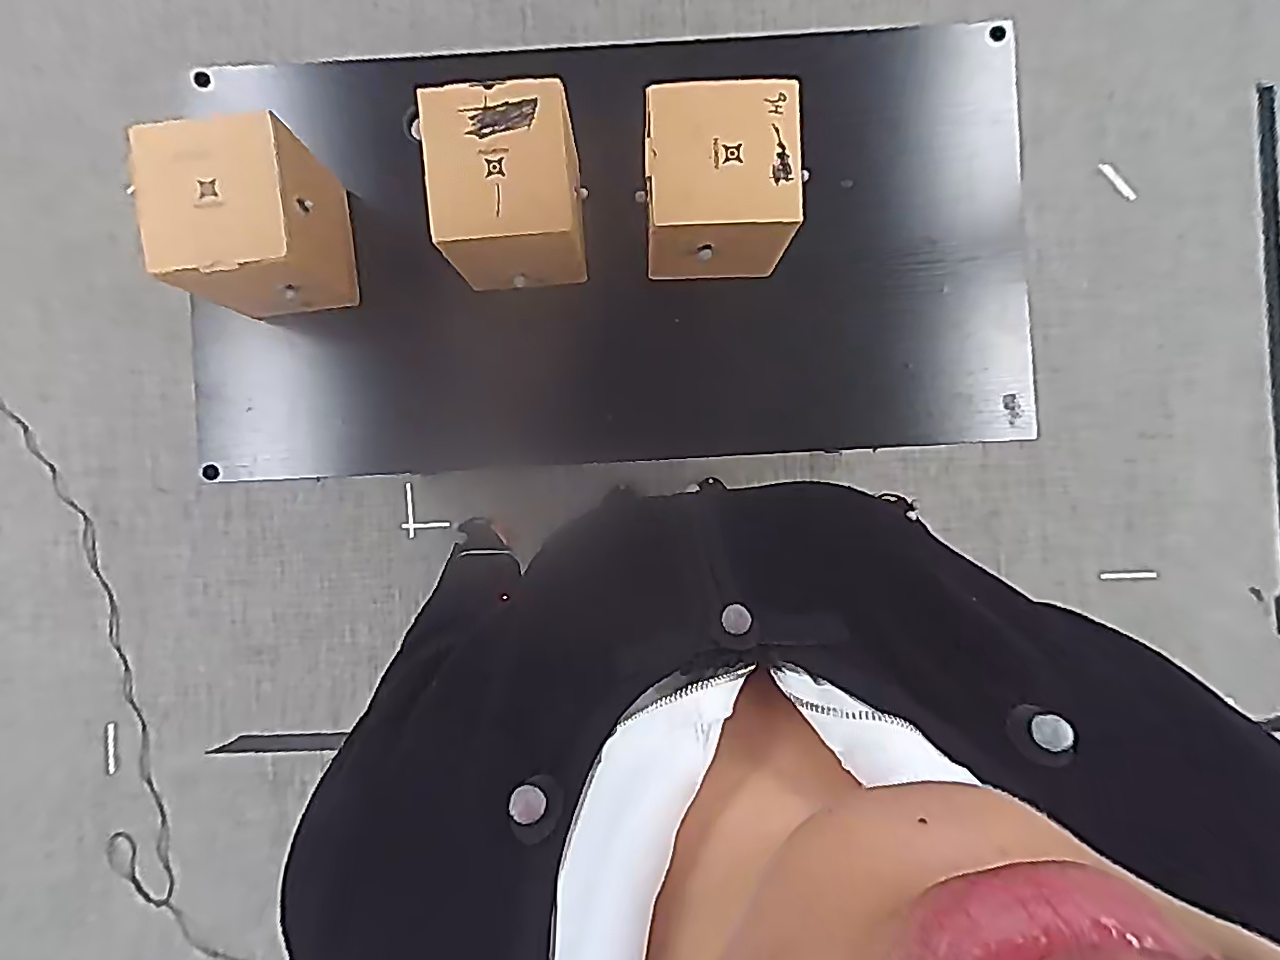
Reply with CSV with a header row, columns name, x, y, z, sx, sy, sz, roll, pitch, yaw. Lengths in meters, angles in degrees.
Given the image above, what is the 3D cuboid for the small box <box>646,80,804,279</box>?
name,x,y,z,sx,sy,sz,roll,pitch,yaw
small box,0.099,-0.368,0.692,0.179,0.176,0.168,-2,90,1

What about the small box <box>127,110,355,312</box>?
name,x,y,z,sx,sy,sz,roll,pitch,yaw
small box,-0.492,-0.326,0.694,0.168,0.176,0.179,-7,89,-1

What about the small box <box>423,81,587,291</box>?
name,x,y,z,sx,sy,sz,roll,pitch,yaw
small box,-0.161,-0.361,0.692,0.168,0.176,0.179,-5,91,0
